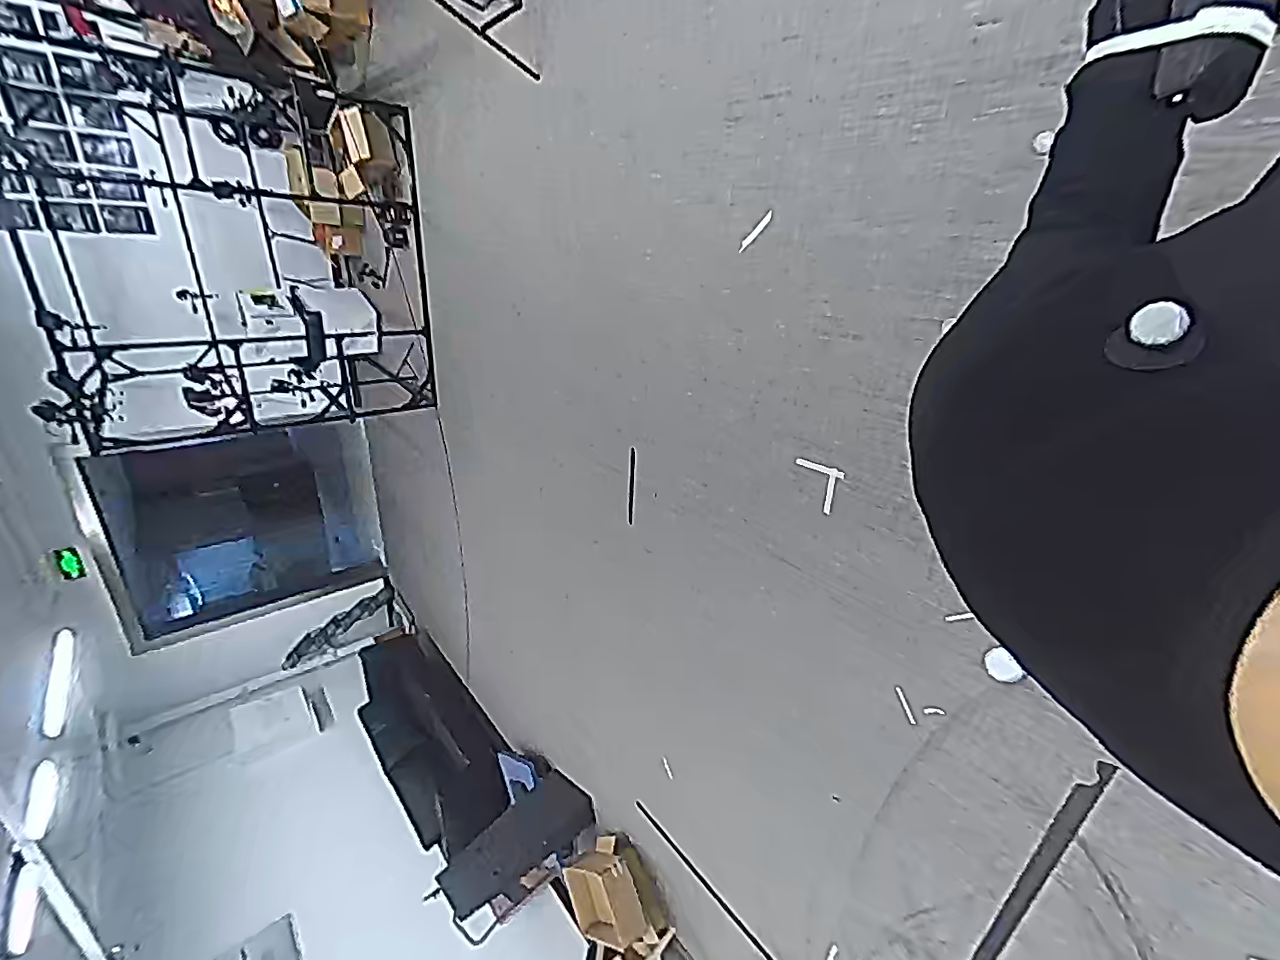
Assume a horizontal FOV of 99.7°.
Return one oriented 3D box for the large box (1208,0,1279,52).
[{"bbox_3d":[0.597,-0.438,0.240,0.408,0.320,0.320,22,132,44],"label":"large box"}]
